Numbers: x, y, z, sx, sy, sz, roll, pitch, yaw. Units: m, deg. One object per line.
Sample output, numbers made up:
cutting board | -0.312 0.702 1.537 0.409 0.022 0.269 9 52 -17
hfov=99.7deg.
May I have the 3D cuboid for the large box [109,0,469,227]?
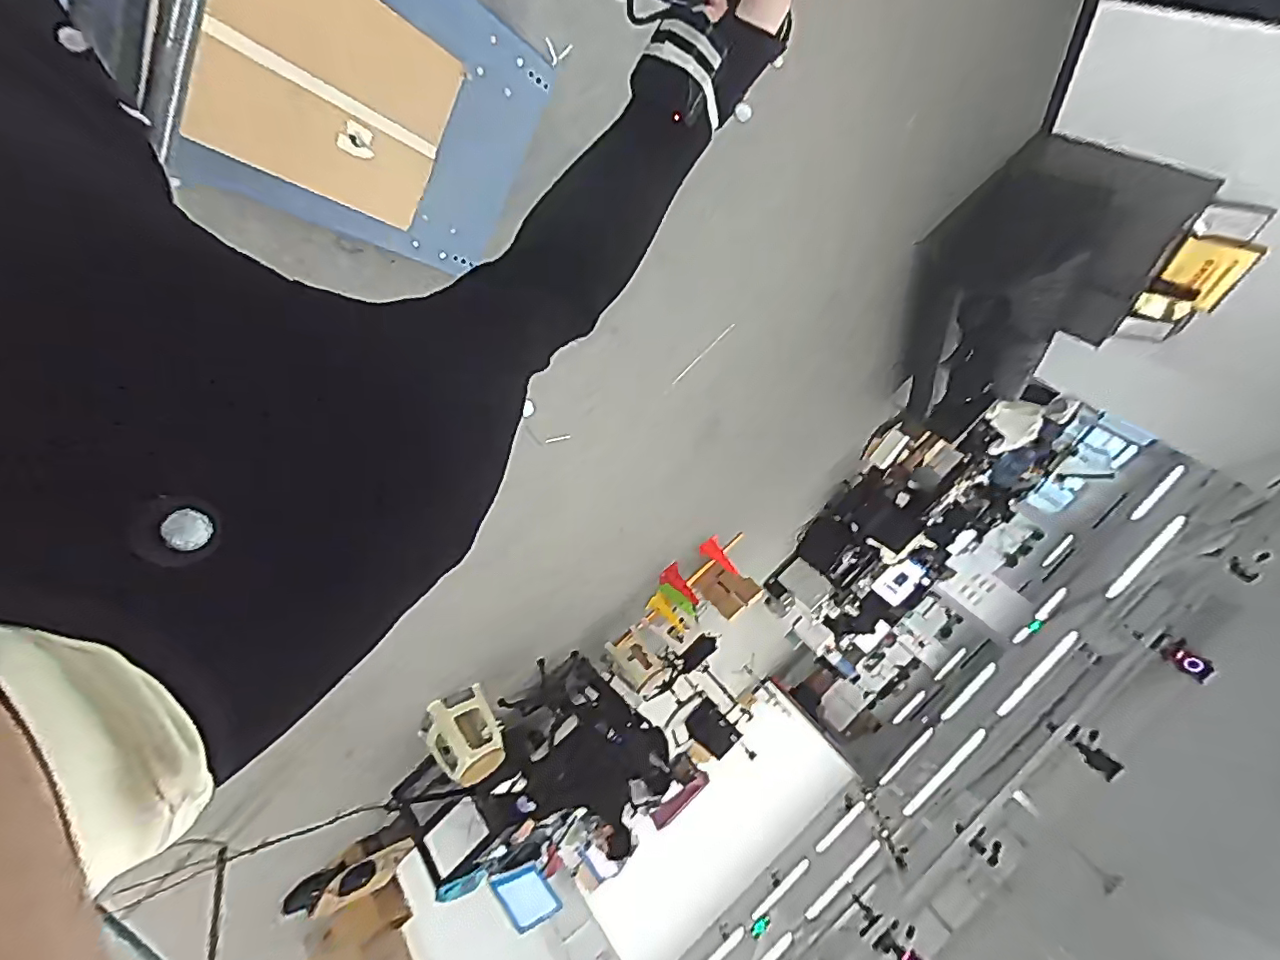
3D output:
large box | -0.592 -0.710 0.926 0.408 0.320 0.320 3 125 -55
